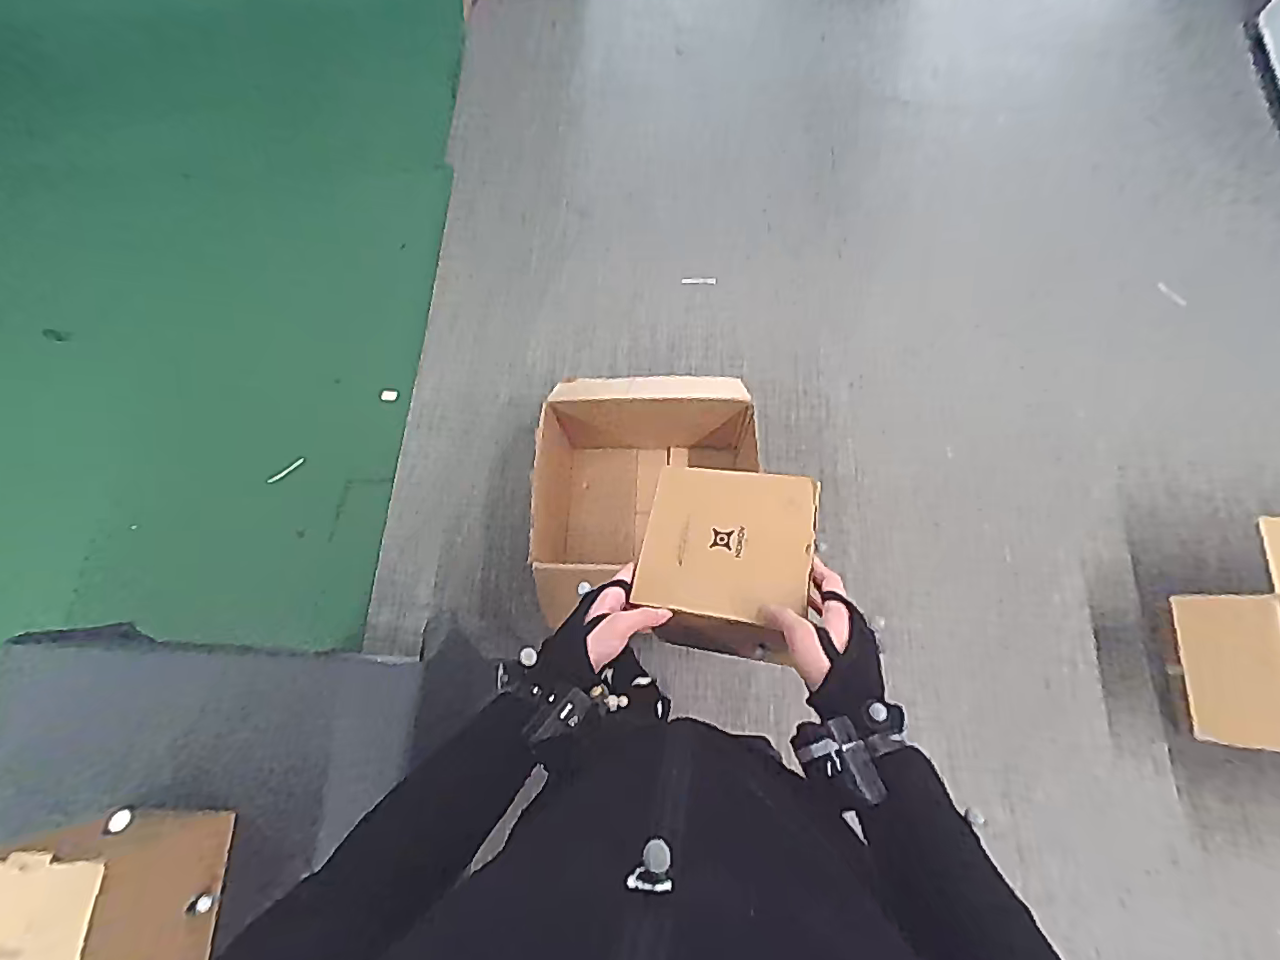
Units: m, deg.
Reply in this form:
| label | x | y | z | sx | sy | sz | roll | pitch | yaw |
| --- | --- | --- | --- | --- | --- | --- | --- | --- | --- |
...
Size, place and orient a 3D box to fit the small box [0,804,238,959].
| label | x | y | z | sx | sy | sz | roll | pitch | yaw |
| --- | --- | --- | --- | --- | --- | --- | --- | --- | --- |
| small box | -0.597 | 0.479 | 0.606 | 0.168 | 0.176 | 0.179 | -3 | 73 | 1 |

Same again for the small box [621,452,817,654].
| label | x | y | z | sx | sy | sz | roll | pitch | yaw |
| --- | --- | --- | --- | --- | --- | --- | --- | --- | --- |
| small box | 0.099 | 0.087 | 0.608 | 0.179 | 0.176 | 0.168 | 4 | 61 | 18 |
